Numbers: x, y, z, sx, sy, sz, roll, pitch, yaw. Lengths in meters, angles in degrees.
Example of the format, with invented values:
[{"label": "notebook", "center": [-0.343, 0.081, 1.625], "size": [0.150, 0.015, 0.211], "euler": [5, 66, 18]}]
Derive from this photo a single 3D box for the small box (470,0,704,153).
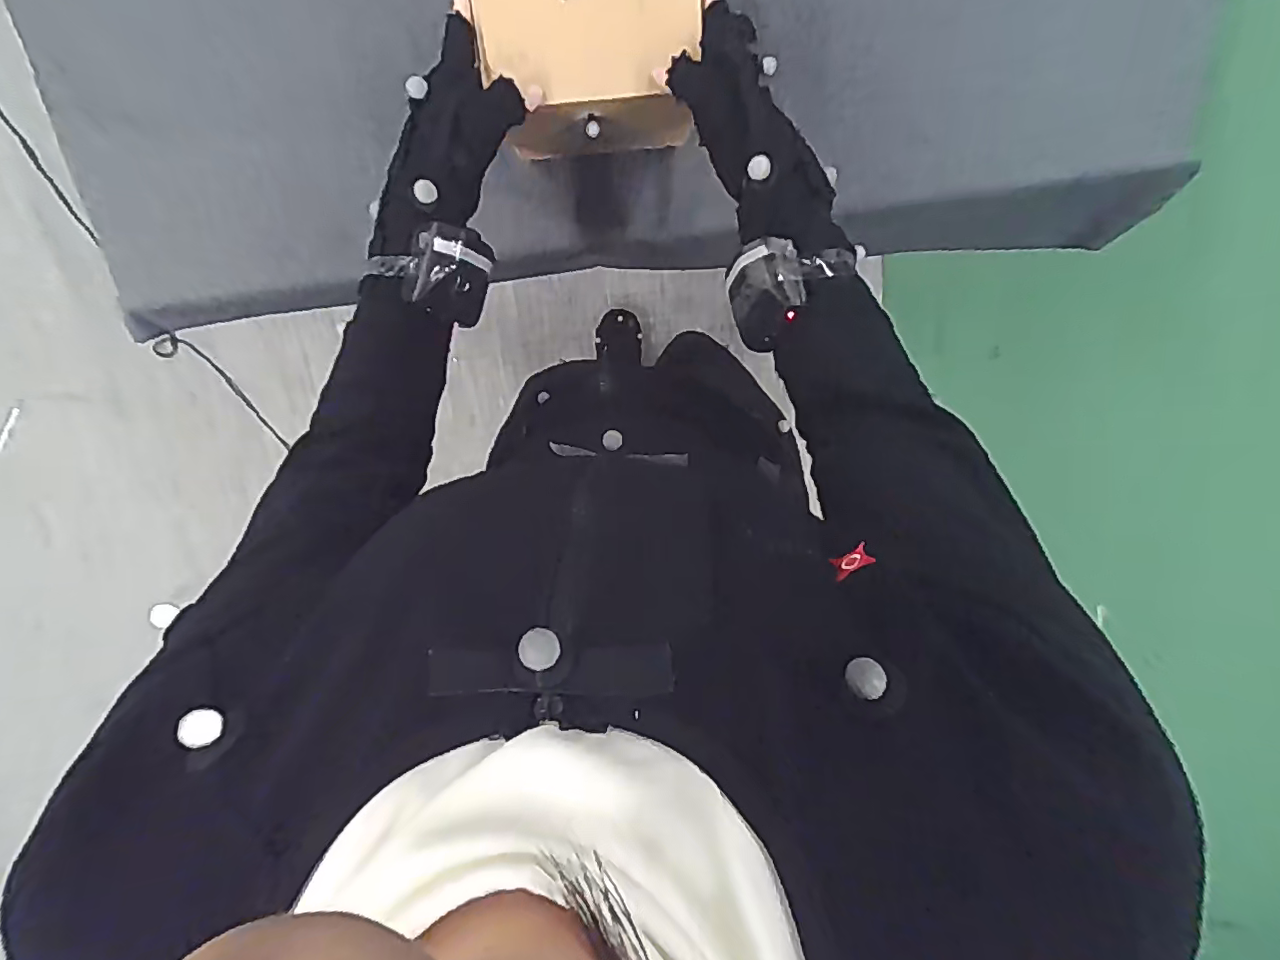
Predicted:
[{"label": "small box", "center": [-0.044, -0.403, 0.475], "size": [0.179, 0.176, 0.168], "euler": [-6, 110, 0]}]
